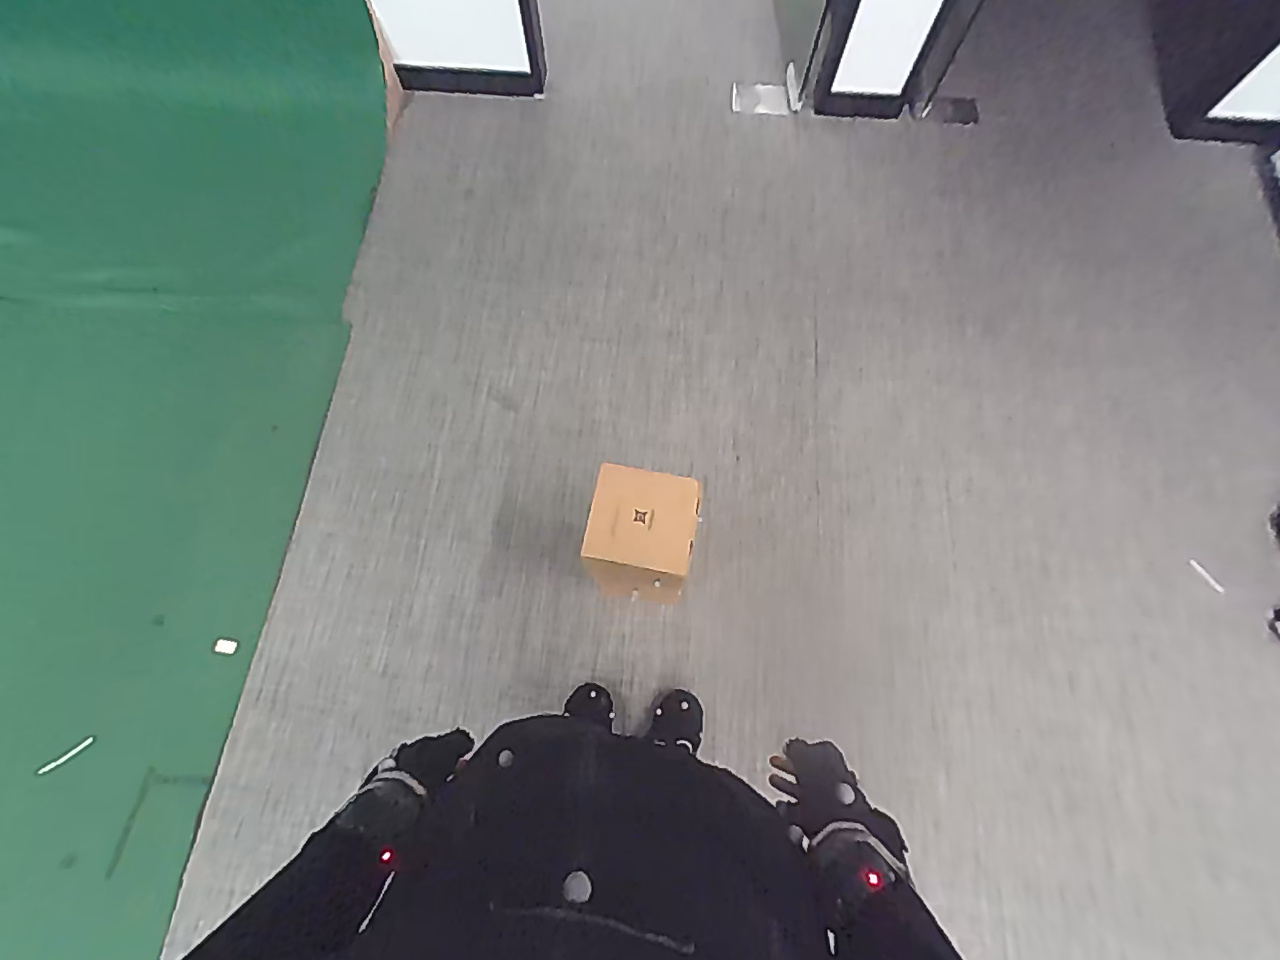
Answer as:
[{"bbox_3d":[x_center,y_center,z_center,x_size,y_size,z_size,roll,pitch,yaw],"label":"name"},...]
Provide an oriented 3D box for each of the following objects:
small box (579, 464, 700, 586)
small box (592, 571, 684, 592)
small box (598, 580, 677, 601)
[{"bbox_3d":[0.003,0.088,0.963,0.179,0.176,0.168,9,71,5],"label":"small box"},{"bbox_3d":[0.006,0.137,1.121,0.179,0.176,0.168,8,73,4],"label":"small box"},{"bbox_3d":[0.008,0.186,1.274,0.179,0.176,0.168,9,72,4],"label":"small box"}]
